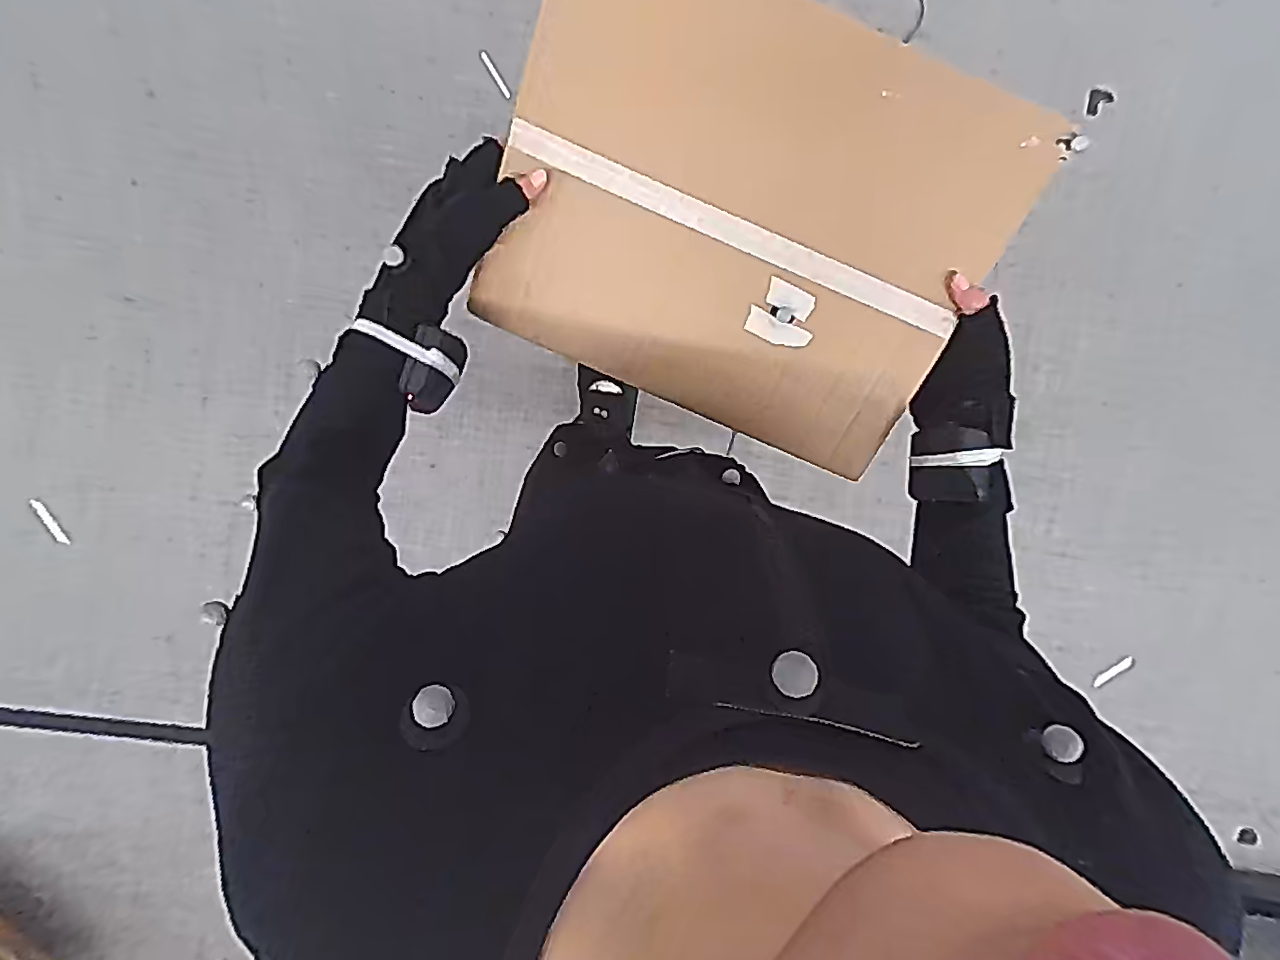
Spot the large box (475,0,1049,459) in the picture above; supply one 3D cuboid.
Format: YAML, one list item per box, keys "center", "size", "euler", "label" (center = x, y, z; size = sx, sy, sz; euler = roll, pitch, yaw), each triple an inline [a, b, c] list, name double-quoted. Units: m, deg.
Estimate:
- center: [0.091, -0.276, 0.599]
  size: [0.408, 0.320, 0.320]
  euler: [22, 114, -4]
  label: "large box"
